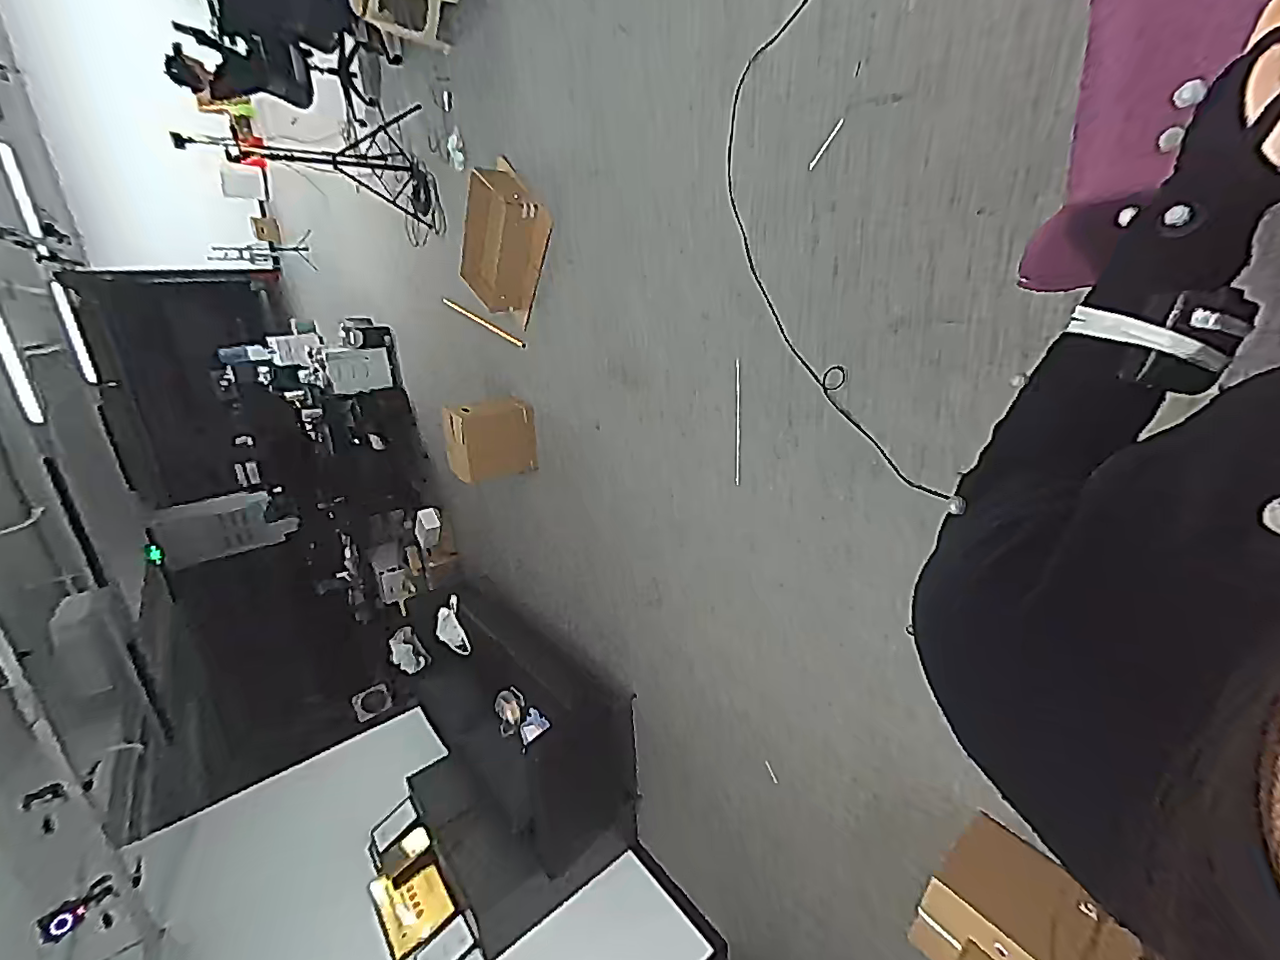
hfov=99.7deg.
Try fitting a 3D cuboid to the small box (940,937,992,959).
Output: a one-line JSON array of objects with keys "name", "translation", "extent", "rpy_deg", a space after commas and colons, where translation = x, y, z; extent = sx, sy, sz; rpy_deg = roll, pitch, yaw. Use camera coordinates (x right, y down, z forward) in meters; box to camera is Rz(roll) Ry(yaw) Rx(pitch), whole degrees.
[{"name": "small box", "translation": [0.843, 1.325, 1.379], "extent": [0.179, 0.176, 0.168], "rpy_deg": [30, 130, 43]}]
